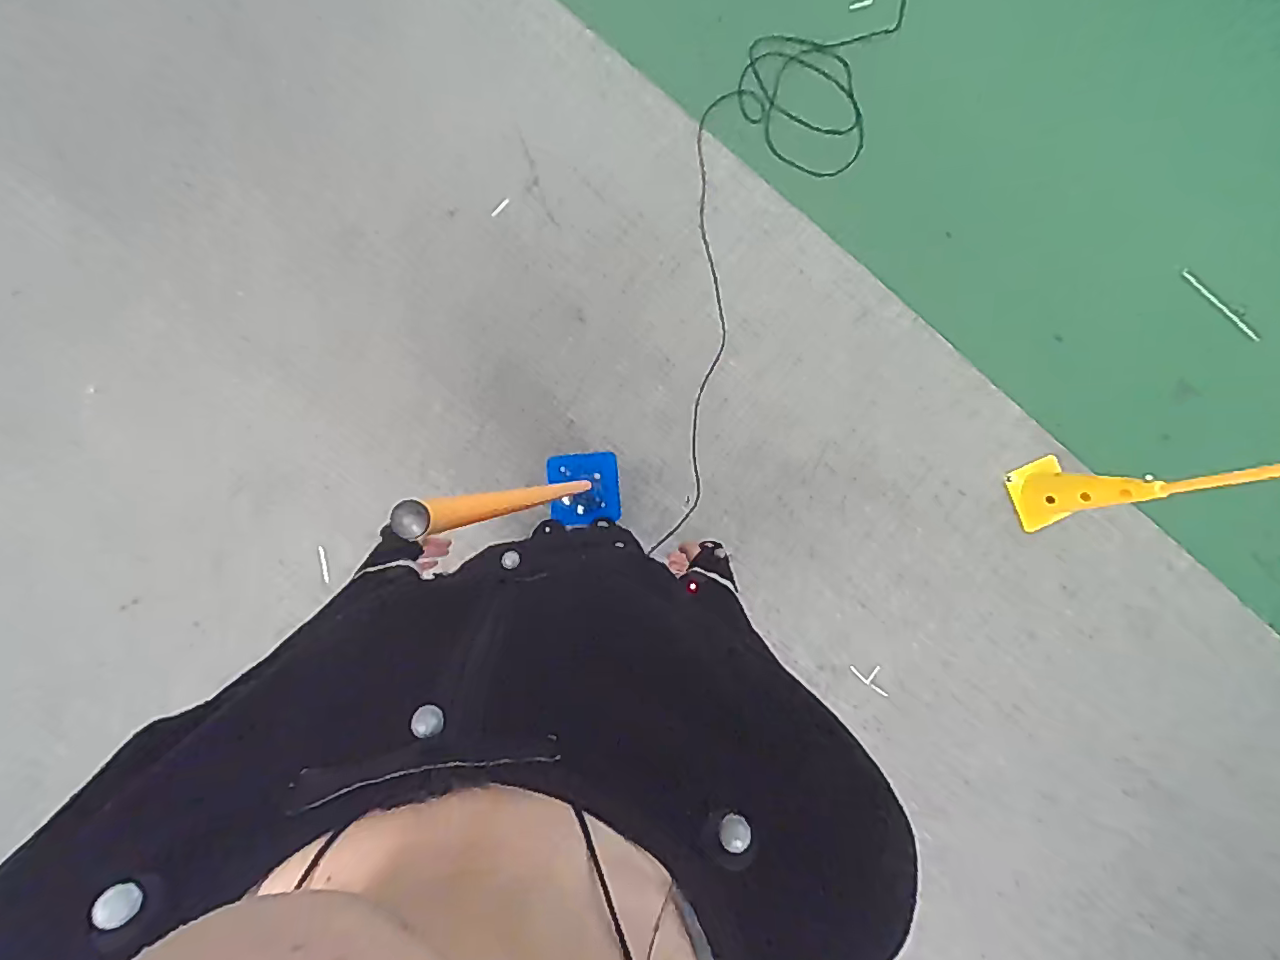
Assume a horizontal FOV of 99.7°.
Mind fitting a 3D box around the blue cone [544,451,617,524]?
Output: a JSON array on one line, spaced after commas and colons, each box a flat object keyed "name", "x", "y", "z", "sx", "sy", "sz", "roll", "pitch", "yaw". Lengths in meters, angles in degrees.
[{"name": "blue cone", "x": -0.144, "y": 0.017, "z": 1.331, "sx": 0.193, "sy": 0.380, "sz": 0.192, "roll": -6, "pitch": 89, "yaw": -6}]
